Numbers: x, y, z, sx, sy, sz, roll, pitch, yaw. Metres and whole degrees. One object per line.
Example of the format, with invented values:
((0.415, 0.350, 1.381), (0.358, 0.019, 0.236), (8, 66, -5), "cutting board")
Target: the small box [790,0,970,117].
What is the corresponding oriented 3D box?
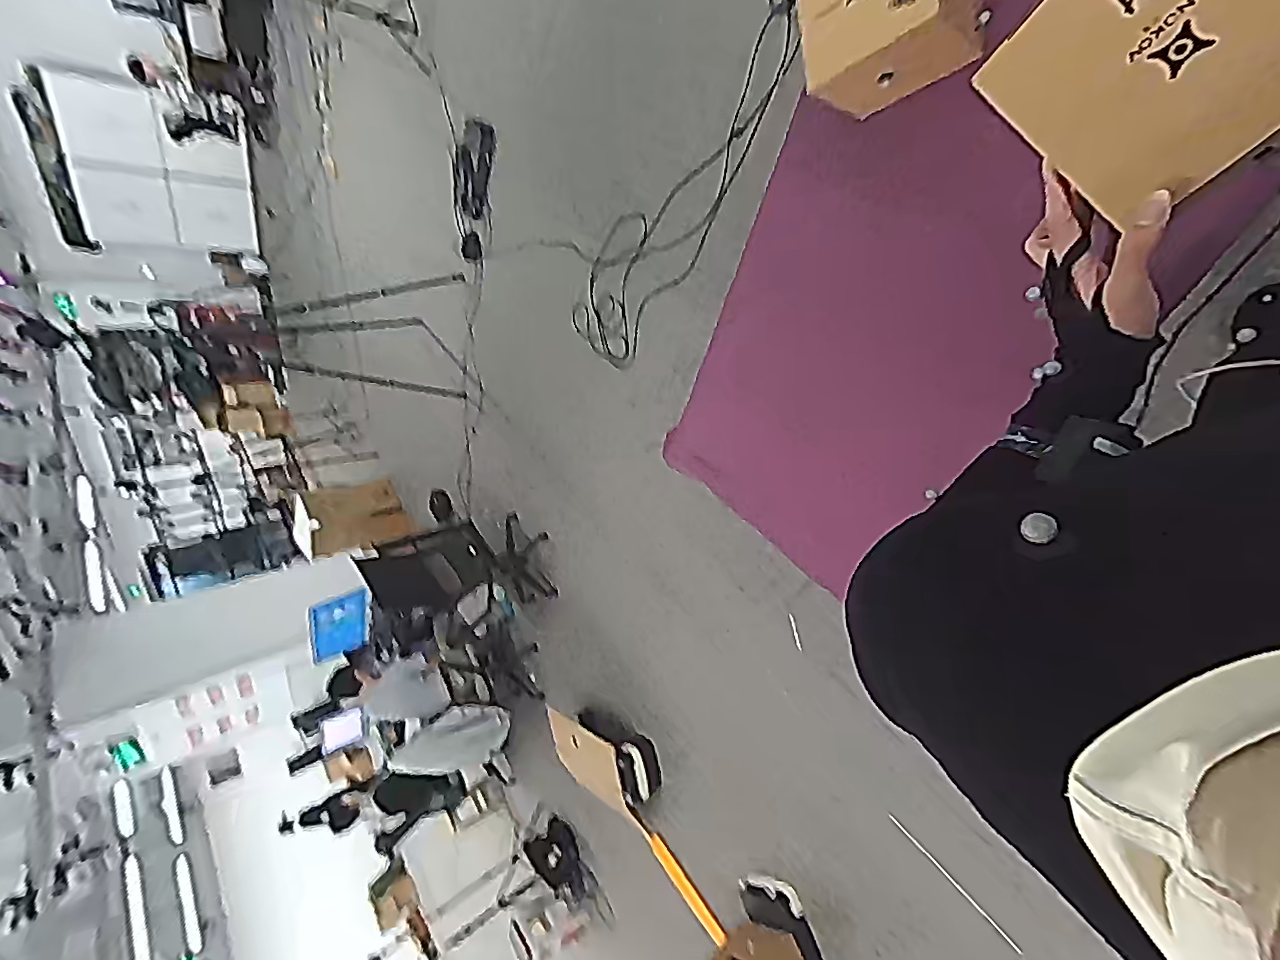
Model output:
((0.330, -0.636, 0.737), (0.179, 0.176, 0.168), (0, 102, 49), "small box")
